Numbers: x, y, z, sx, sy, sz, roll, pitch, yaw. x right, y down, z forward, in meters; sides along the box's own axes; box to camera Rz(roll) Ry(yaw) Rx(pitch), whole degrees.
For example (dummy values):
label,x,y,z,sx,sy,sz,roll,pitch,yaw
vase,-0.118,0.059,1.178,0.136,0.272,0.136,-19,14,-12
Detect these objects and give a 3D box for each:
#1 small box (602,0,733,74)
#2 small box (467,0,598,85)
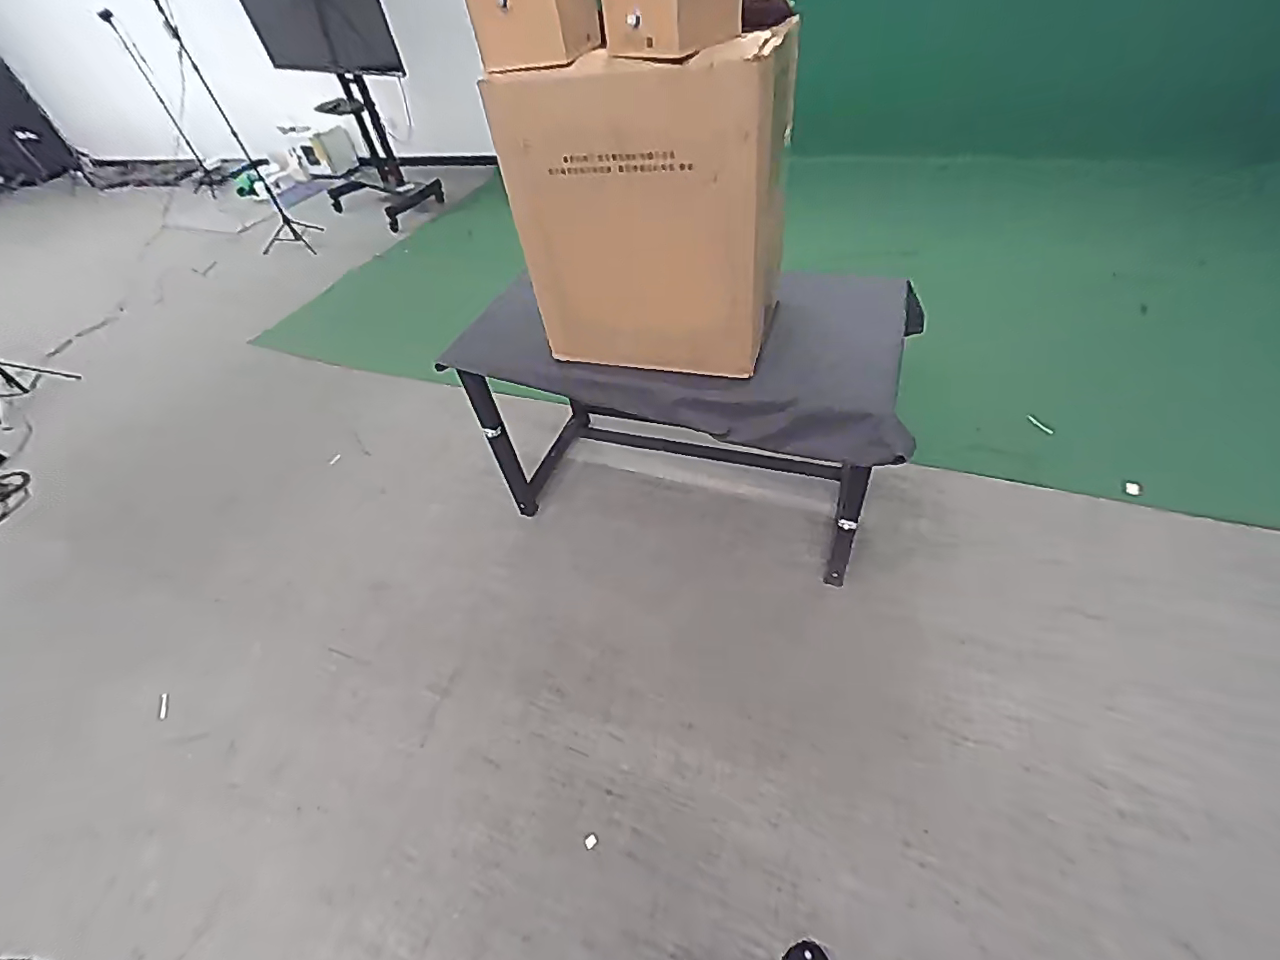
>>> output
label,x,y,z,sx,sy,sz,roll,pitch,yaw
small box,0.045,-0.811,0.910,0.168,0.176,0.179,30,59,32
small box,-0.198,-0.850,0.994,0.179,0.176,0.168,8,50,20
